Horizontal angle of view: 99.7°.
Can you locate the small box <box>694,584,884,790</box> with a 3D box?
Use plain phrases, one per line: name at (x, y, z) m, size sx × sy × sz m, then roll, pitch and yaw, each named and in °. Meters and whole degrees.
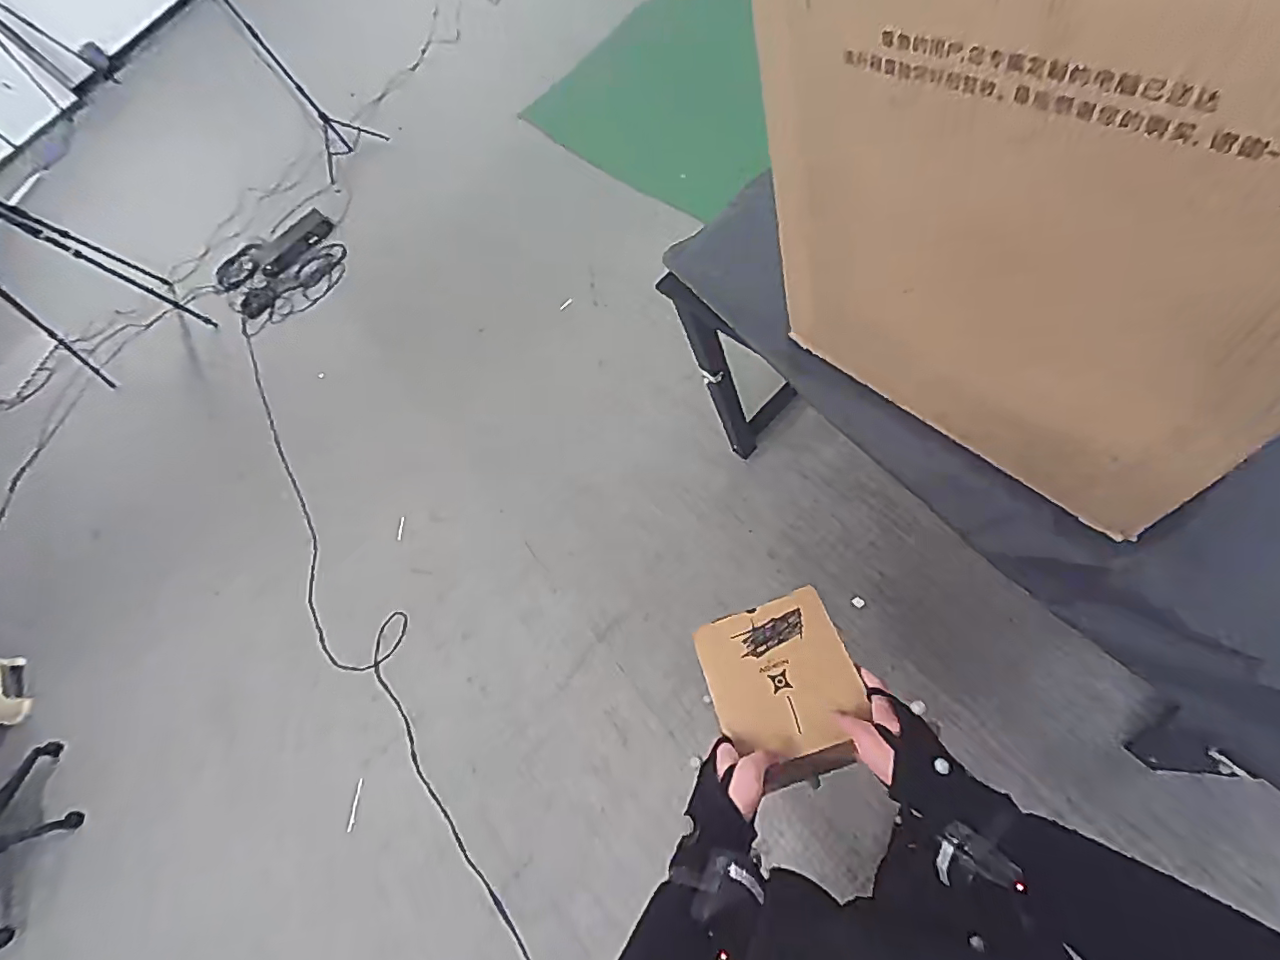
small box at (0.184, 0.267, 0.688) m, size 0.168 × 0.176 × 0.179 m, roll -22°, pitch 50°, yaw 4°
